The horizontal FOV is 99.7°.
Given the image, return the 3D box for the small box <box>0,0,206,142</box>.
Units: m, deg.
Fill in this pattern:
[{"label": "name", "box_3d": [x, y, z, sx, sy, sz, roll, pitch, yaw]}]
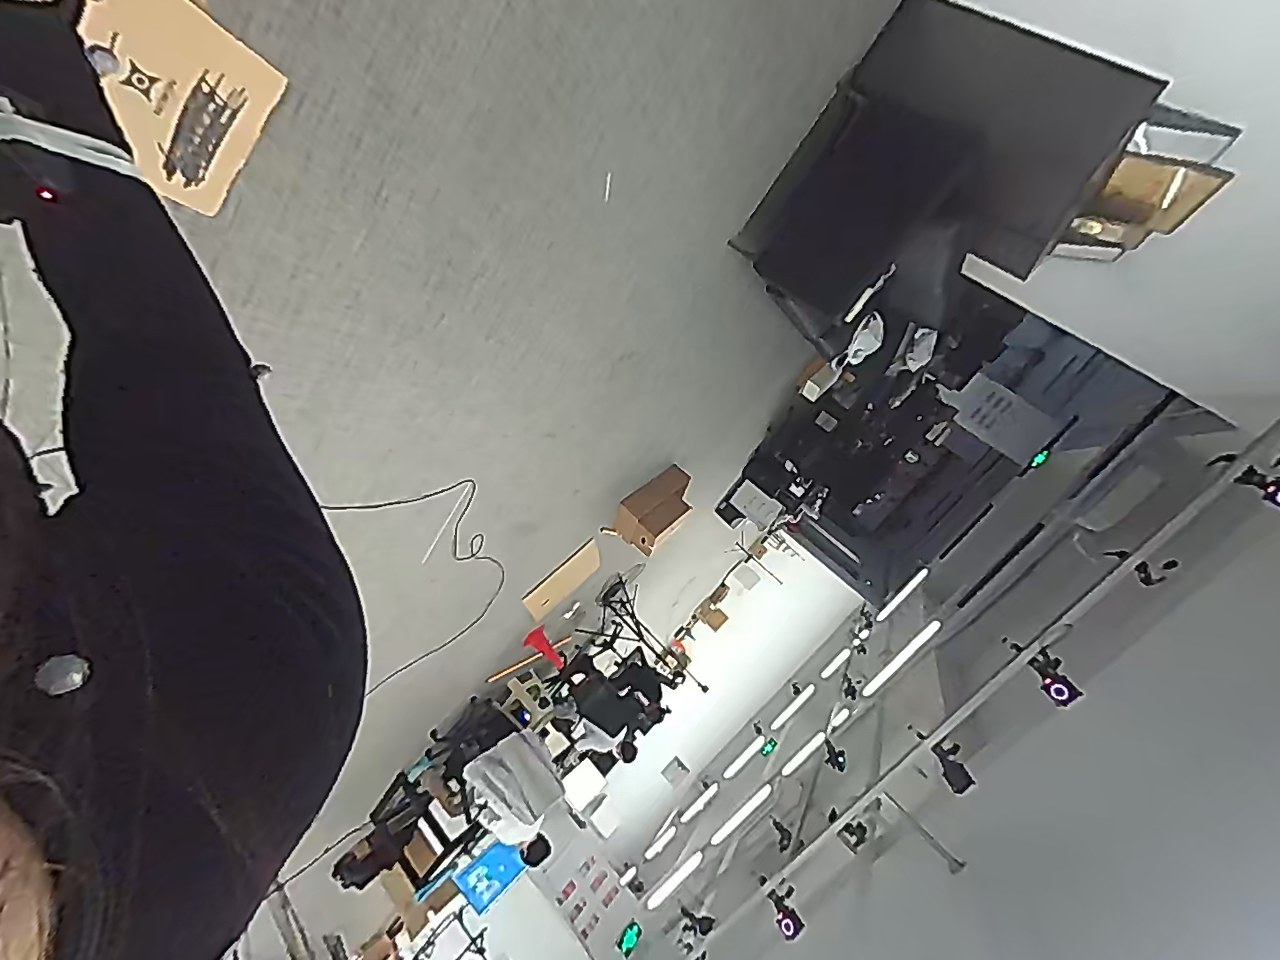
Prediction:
[{"label": "small box", "box_3d": [-0.605, -0.504, 0.552, 0.179, 0.176, 0.168, -55, 160, 11]}]
